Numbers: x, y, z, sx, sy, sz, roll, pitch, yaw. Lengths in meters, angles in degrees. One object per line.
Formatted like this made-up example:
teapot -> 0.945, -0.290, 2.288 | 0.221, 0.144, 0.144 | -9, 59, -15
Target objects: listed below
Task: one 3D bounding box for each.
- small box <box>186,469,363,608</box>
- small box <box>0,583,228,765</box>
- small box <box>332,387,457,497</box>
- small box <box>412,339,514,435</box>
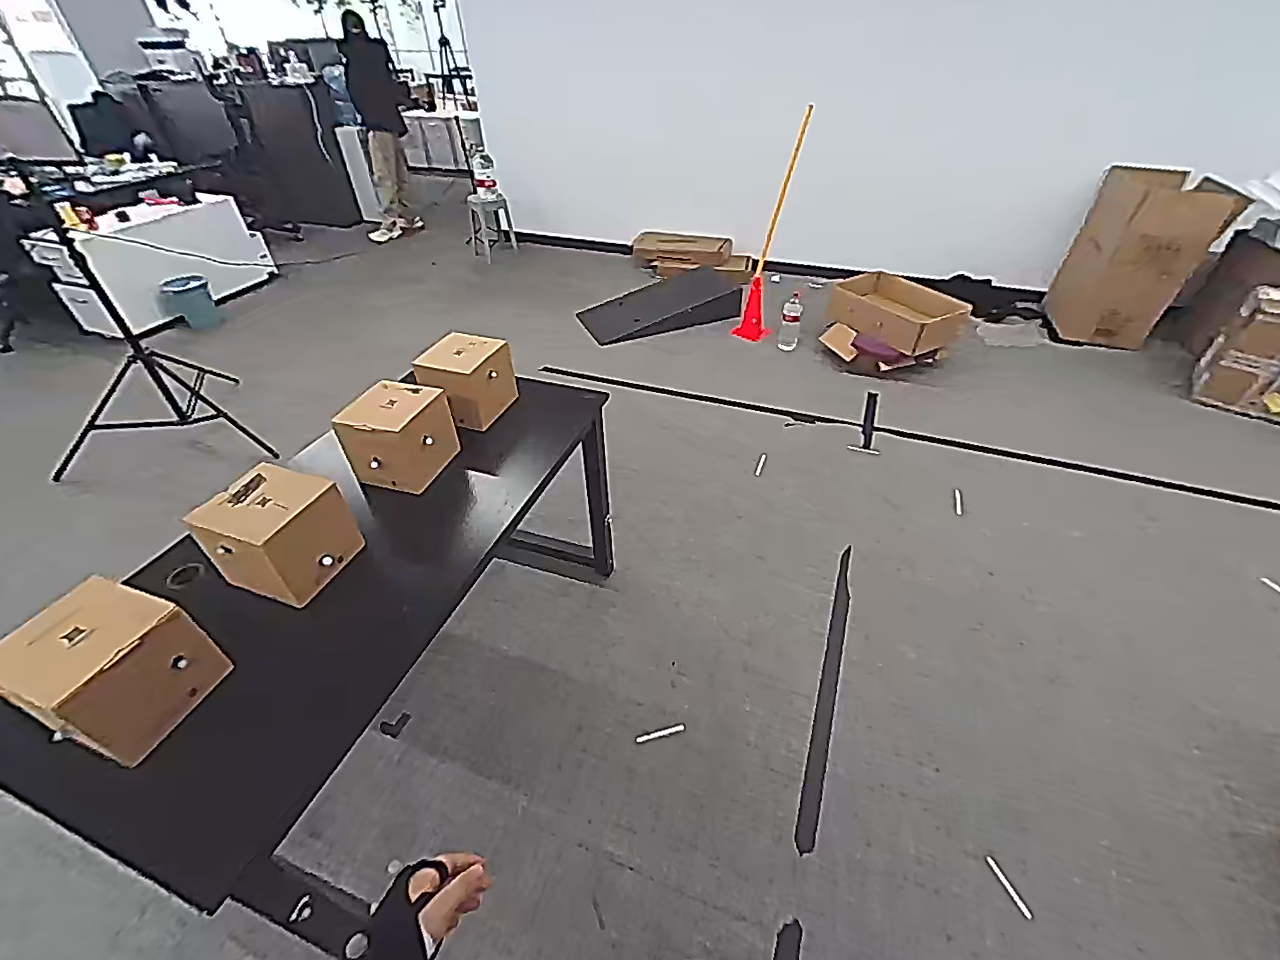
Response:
small box -> -0.653, 0.108, 0.986 | 0.179, 0.176, 0.168 | 13, 42, 15
small box -> -0.761, 0.282, 0.785 | 0.179, 0.176, 0.168 | 11, 40, 15
small box -> -0.536, -0.084, 1.212 | 0.168, 0.176, 0.179 | 10, 42, 13
small box -> -0.442, -0.237, 1.388 | 0.168, 0.176, 0.179 | 13, 43, 16
